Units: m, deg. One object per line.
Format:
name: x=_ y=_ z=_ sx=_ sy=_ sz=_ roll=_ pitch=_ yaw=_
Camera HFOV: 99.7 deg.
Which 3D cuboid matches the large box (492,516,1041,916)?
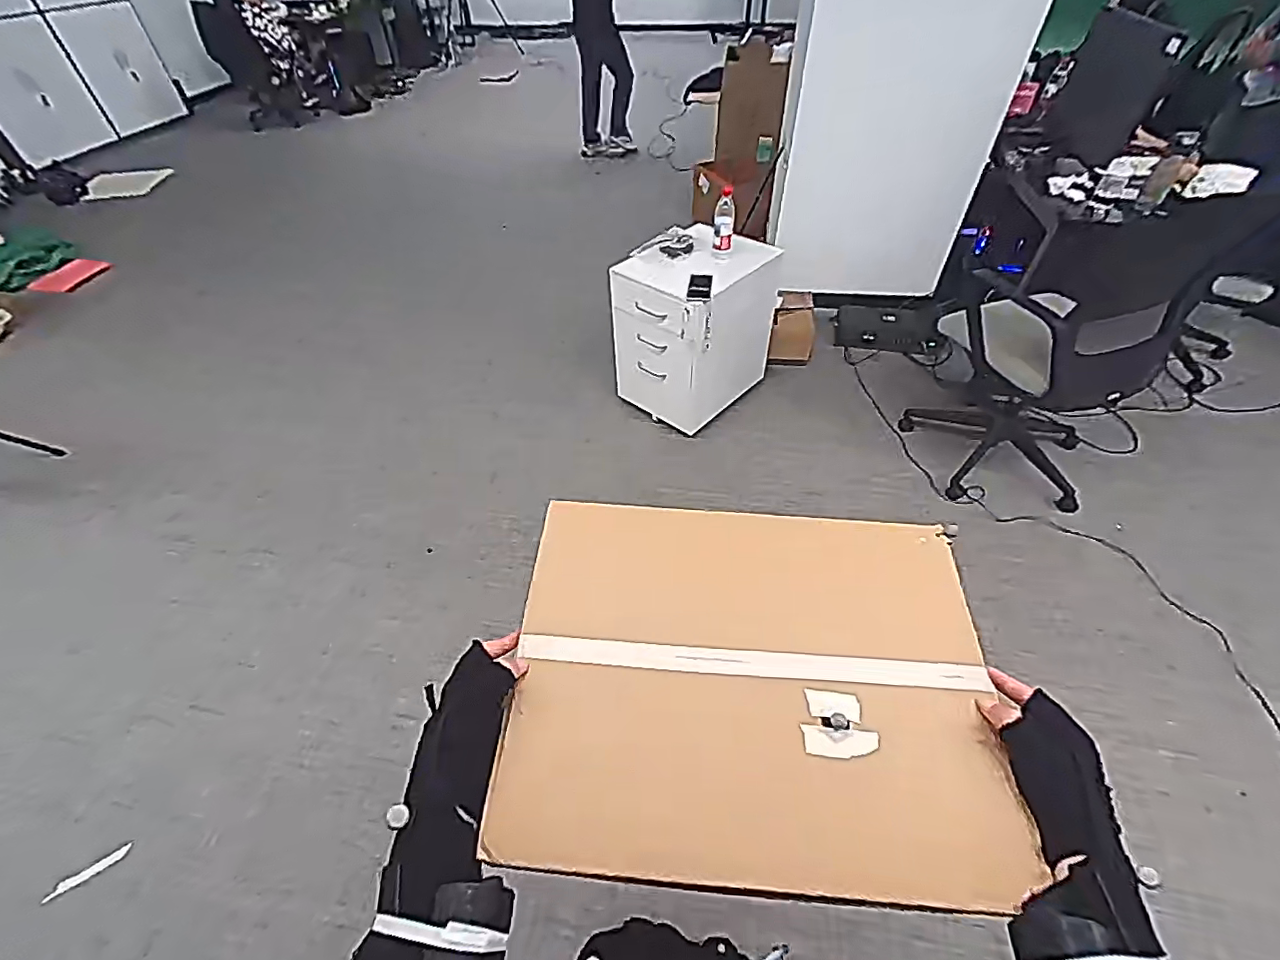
large box: x=0.095 y=0.261 z=0.593 sx=0.408 sy=0.320 sz=0.320 roll=4 pitch=54 yaw=3
